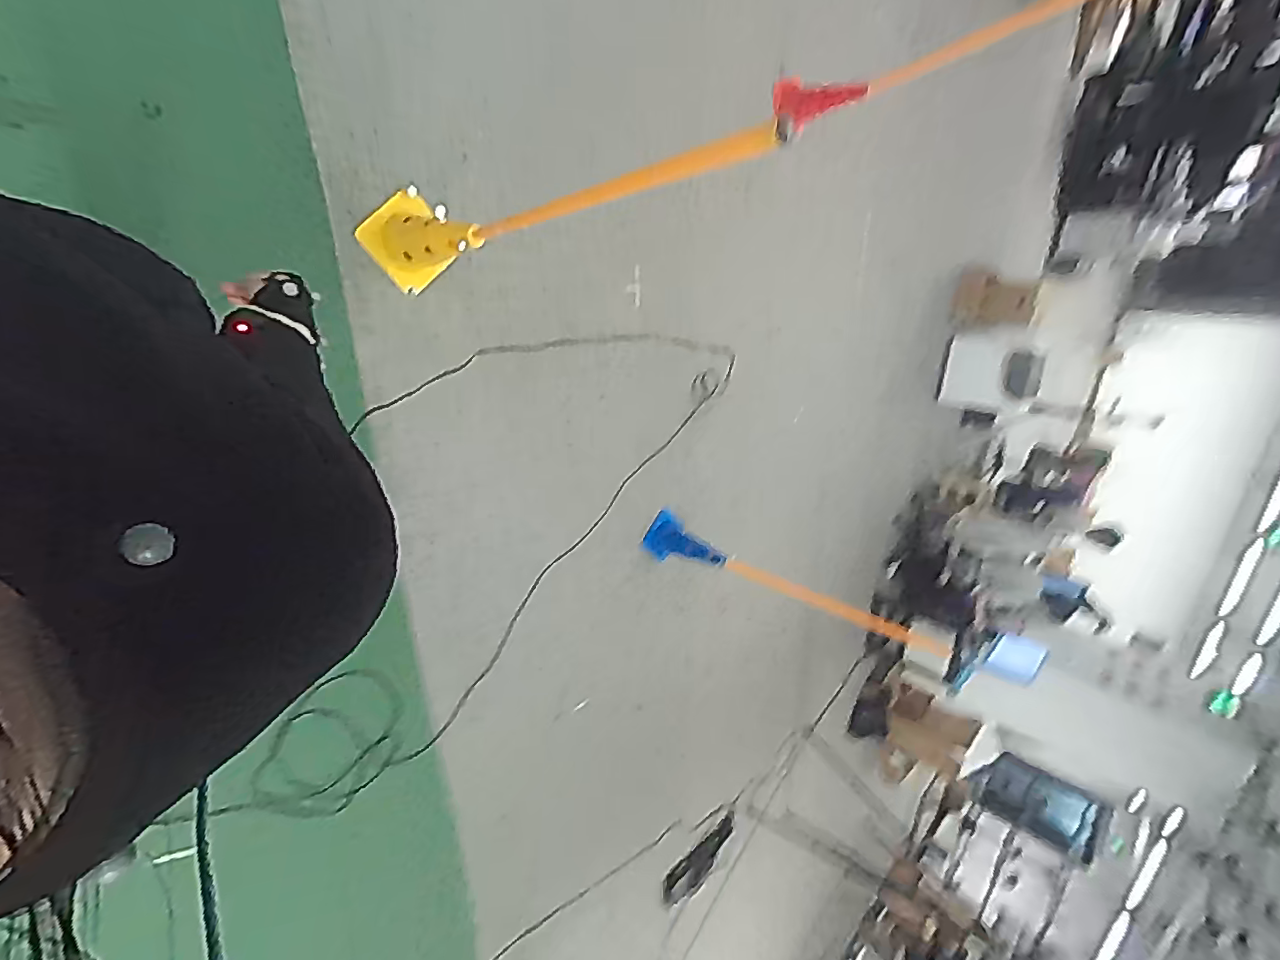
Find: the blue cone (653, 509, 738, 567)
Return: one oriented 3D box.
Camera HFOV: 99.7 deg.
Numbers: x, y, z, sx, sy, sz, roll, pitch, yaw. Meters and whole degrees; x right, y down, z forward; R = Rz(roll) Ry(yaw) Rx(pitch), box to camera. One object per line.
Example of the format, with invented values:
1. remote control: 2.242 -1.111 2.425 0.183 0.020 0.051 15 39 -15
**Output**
1. blue cone: 0.261 0.279 2.324 0.193 0.380 0.192 42 74 -47
